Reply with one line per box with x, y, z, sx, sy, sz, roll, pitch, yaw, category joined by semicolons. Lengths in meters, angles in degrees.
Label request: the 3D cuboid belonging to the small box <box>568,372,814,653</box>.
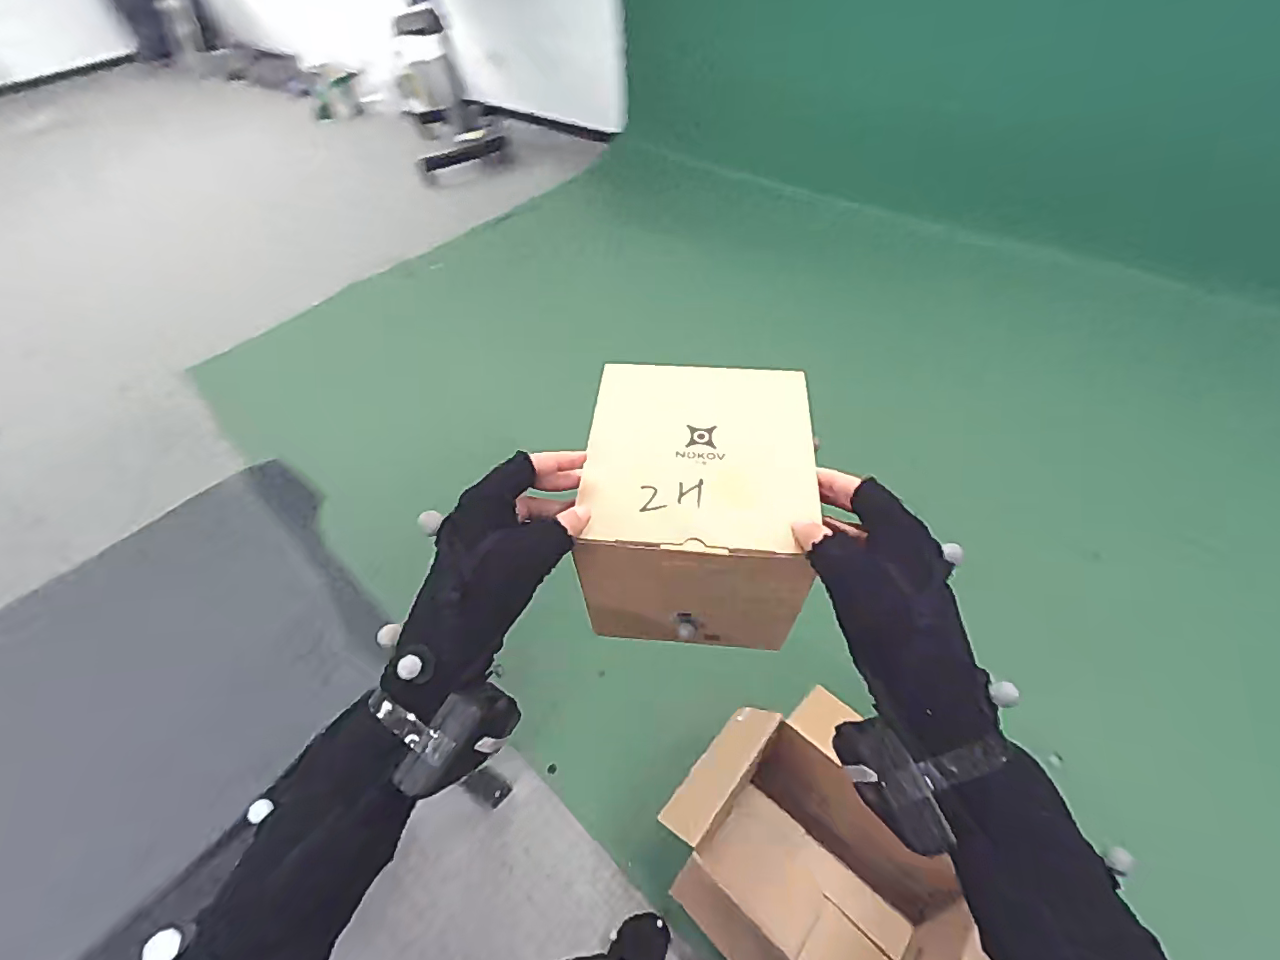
0.042;0.029;0.468;0.168;0.176;0.179;2;52;5;small box
